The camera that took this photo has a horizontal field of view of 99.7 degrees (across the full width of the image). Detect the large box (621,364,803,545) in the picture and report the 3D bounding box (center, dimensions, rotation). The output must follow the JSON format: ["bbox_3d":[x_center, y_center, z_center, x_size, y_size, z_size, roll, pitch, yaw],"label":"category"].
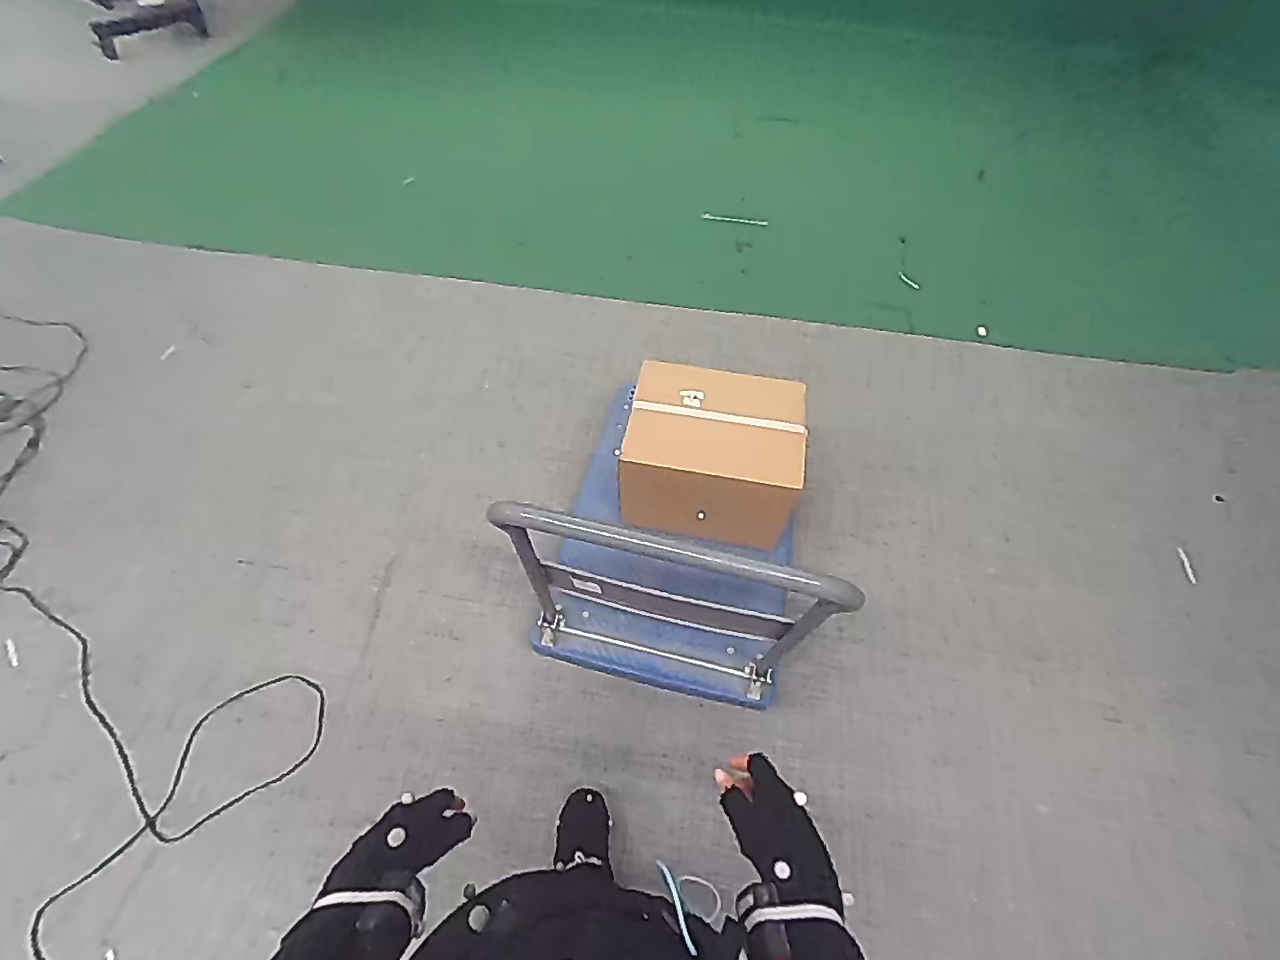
[{"bbox_3d":[0.179,-0.058,1.382,0.408,0.320,0.320,9,57,5],"label":"large box"}]
